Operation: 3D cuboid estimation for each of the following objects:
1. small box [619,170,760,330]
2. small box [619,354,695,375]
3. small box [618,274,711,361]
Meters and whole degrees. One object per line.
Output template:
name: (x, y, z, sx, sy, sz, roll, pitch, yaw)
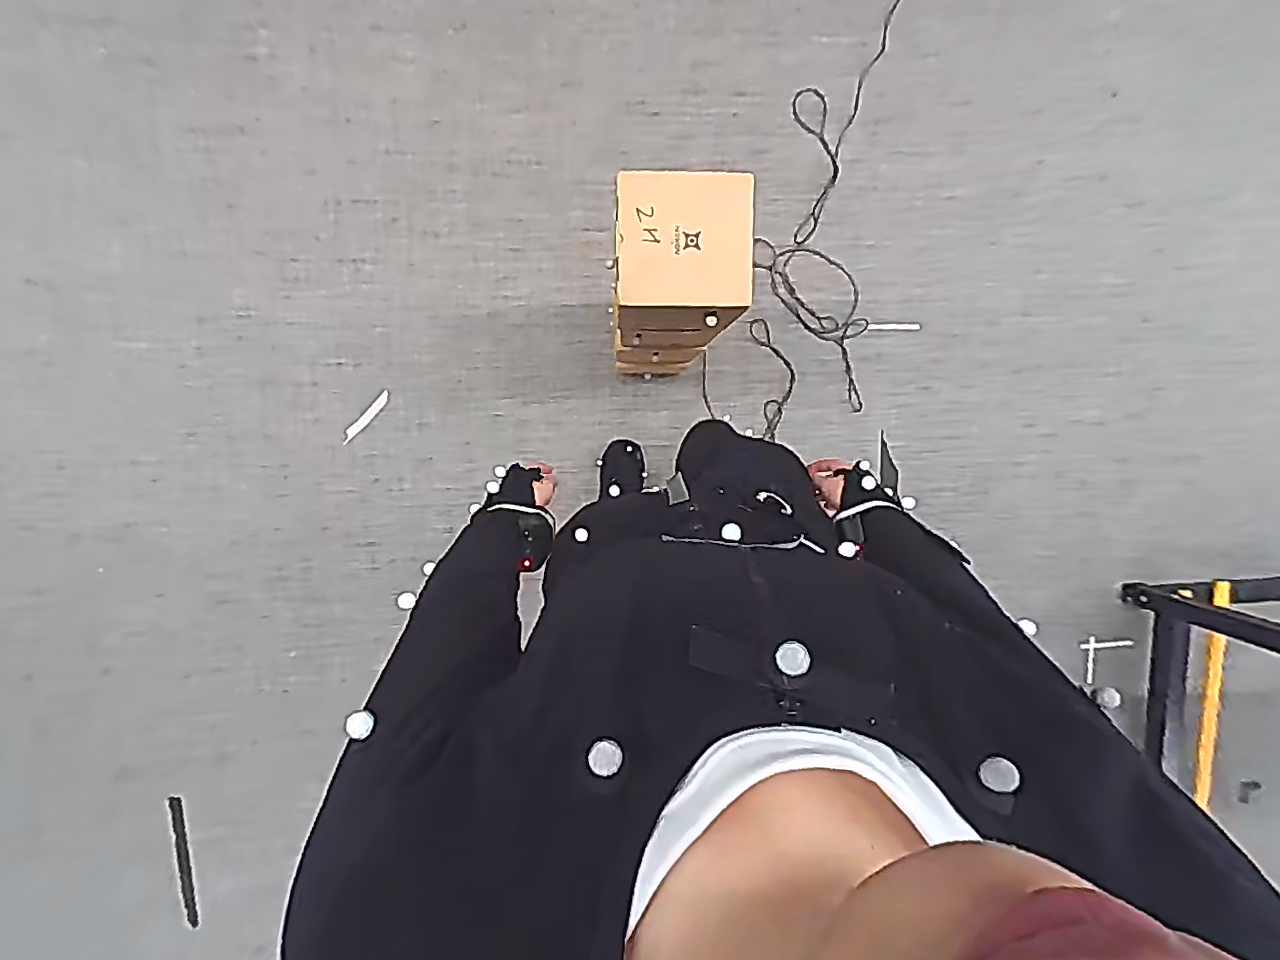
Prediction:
small box: (0.060, -0.310, 0.762, 0.179, 0.176, 0.168, 0, 95, -2)
small box: (0.036, -0.341, 1.253, 0.168, 0.176, 0.179, 0, 97, -2)
small box: (0.045, -0.333, 1.091, 0.179, 0.176, 0.168, -1, 96, -2)
